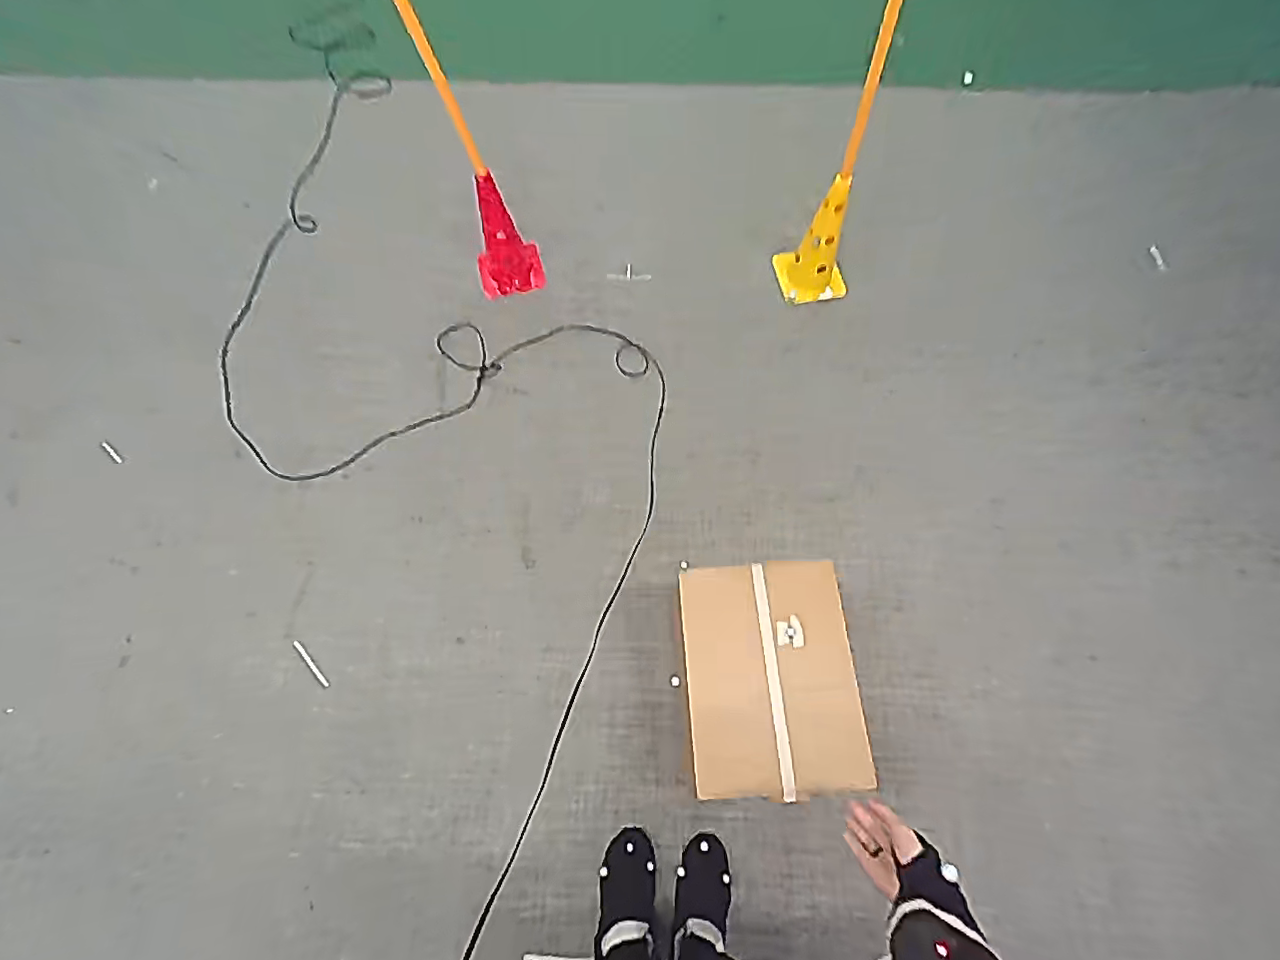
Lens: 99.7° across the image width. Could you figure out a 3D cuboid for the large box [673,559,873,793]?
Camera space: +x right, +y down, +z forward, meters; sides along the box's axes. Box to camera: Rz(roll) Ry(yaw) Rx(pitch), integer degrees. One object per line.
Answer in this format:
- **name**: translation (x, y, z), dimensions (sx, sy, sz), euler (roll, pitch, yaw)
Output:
- **large box**: translation (0.243, 0.413, 1.148), dimensions (0.320, 0.320, 0.408), euler (-3, 65, -1)
